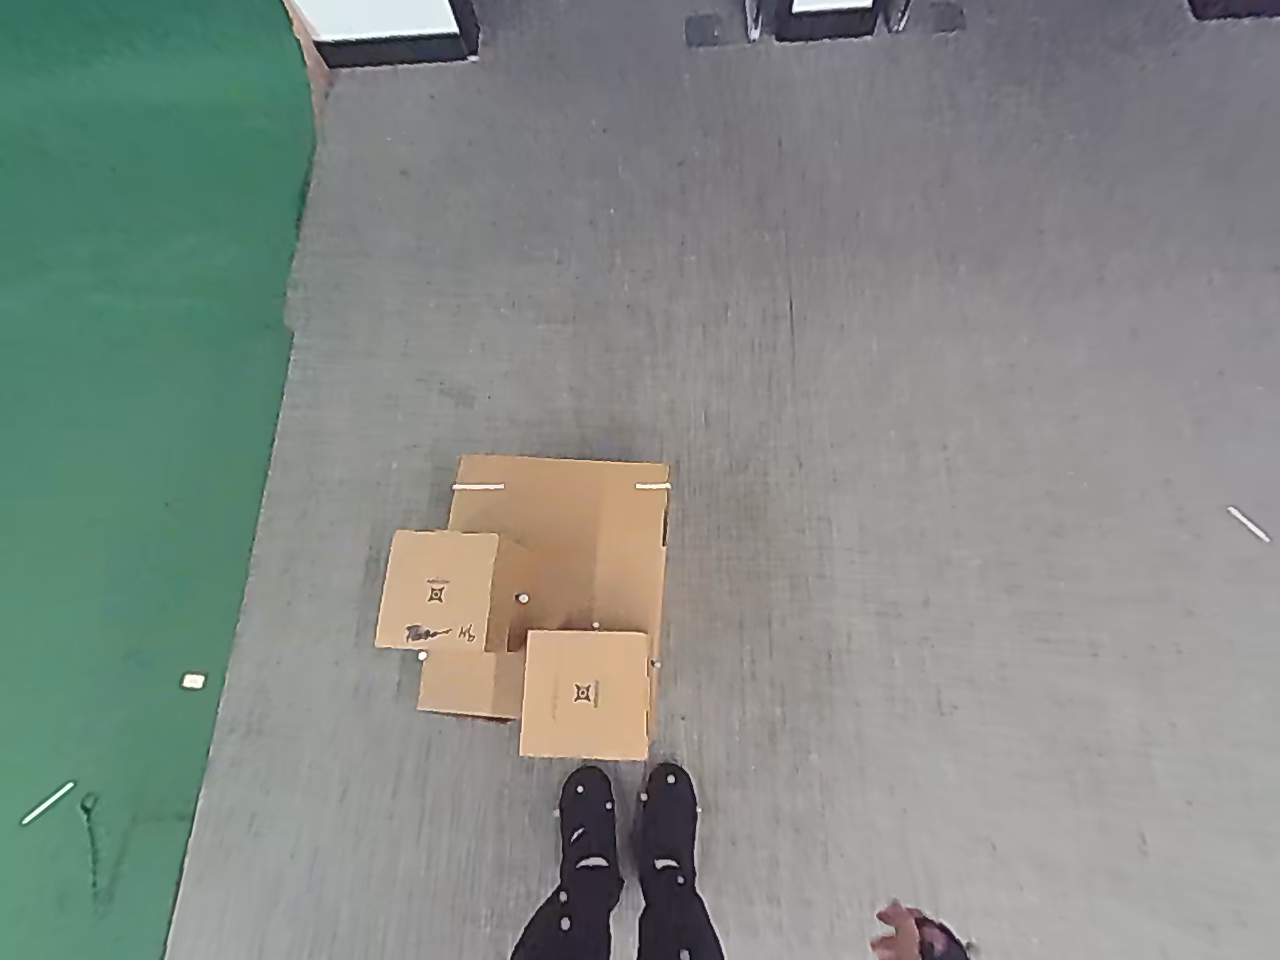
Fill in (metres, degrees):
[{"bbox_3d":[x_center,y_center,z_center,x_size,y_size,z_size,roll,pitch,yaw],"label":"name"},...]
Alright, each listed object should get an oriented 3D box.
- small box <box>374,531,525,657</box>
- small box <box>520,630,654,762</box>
[{"bbox_3d":[-0.289,0.187,0.865,0.168,0.176,0.179,2,73,4],"label":"small box"},{"bbox_3d":[-0.068,0.314,0.815,0.179,0.176,0.168,0,73,3],"label":"small box"}]
